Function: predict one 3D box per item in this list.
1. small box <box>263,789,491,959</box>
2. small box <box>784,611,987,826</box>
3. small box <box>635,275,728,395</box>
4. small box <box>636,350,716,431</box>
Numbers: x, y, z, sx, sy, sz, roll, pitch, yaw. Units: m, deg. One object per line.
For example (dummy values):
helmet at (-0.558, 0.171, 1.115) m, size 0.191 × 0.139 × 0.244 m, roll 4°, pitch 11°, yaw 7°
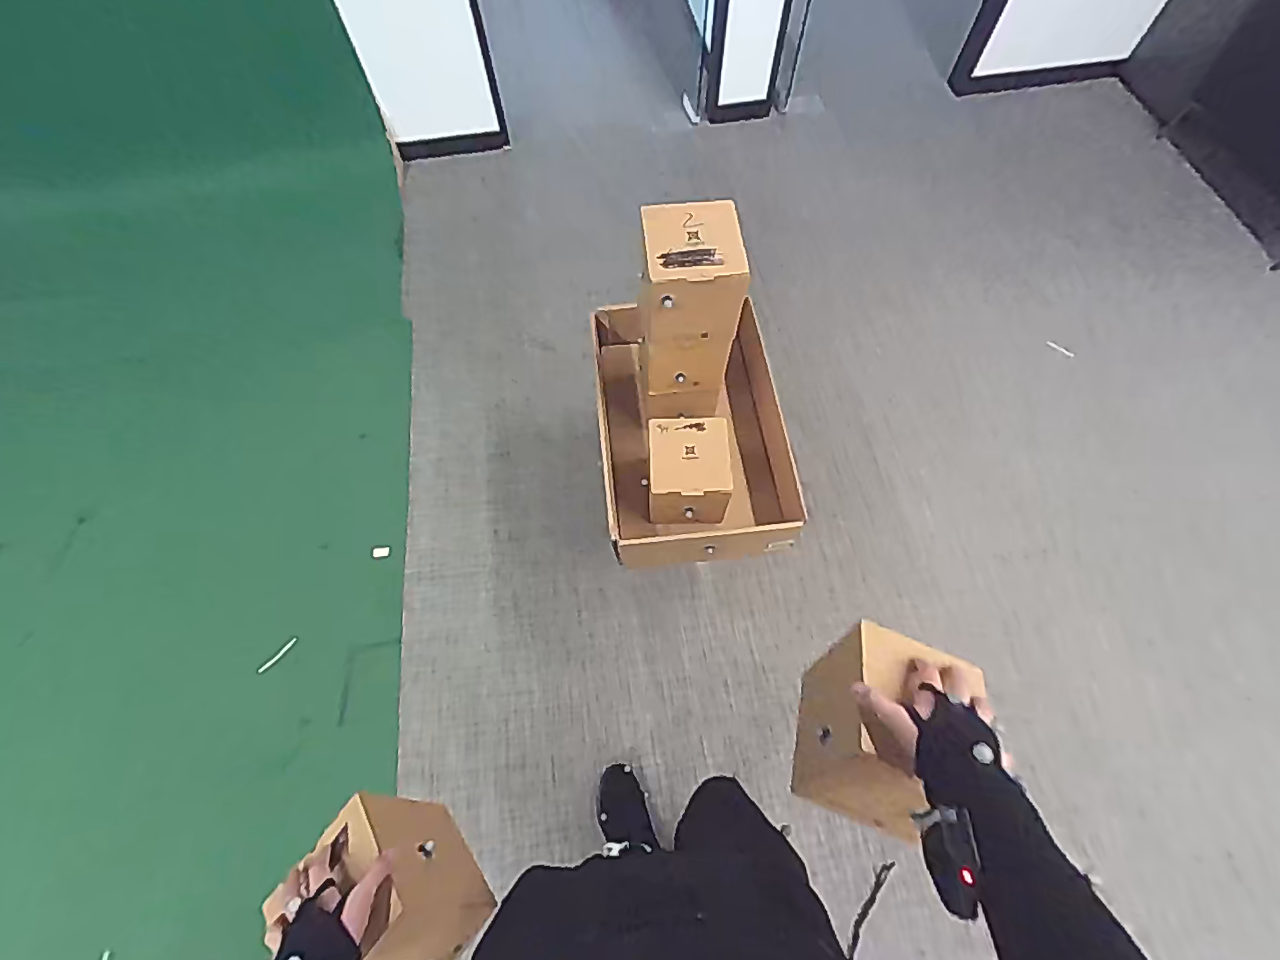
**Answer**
small box at (-0.329, 0.538, 0.691) m, size 0.179 × 0.176 × 0.168 m, roll 29°, pitch 75°, yaw 41°
small box at (0.300, 0.308, 0.692) m, size 0.168 × 0.176 × 0.179 m, roll 24°, pitch 44°, yaw 2°
small box at (0.078, -0.302, 1.141) m, size 0.168 × 0.176 × 0.179 m, roll -6°, pitch 67°, yaw -3°
small box at (0.078, -0.238, 1.290) m, size 0.168 × 0.176 × 0.179 m, roll -6°, pitch 66°, yaw -2°
